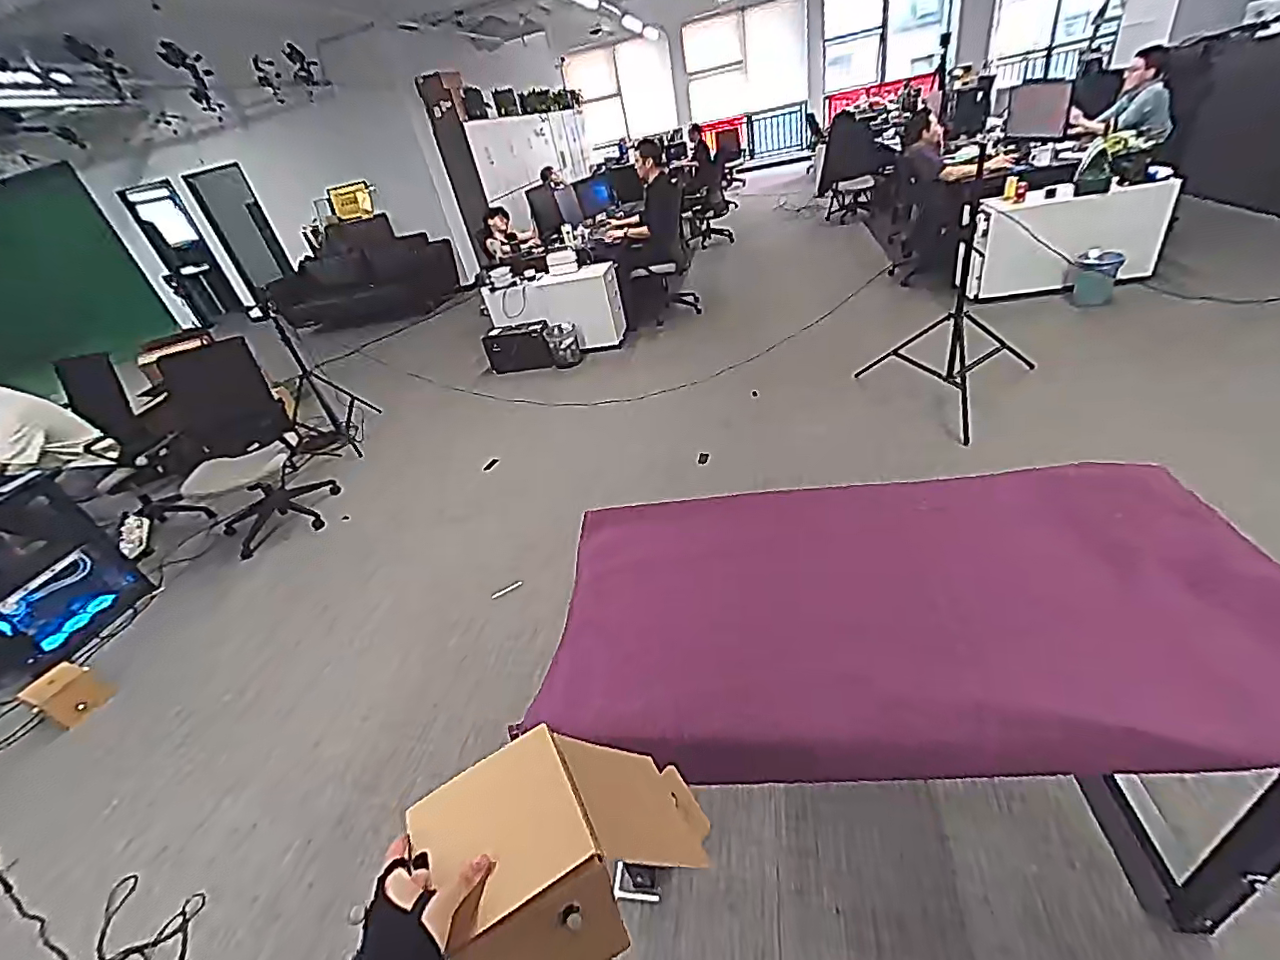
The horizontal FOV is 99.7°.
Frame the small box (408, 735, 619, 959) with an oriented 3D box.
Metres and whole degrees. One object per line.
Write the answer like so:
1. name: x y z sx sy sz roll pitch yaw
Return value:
1. small box: -0.132 0.430 0.591 0.179 0.176 0.168 -20 28 -19
